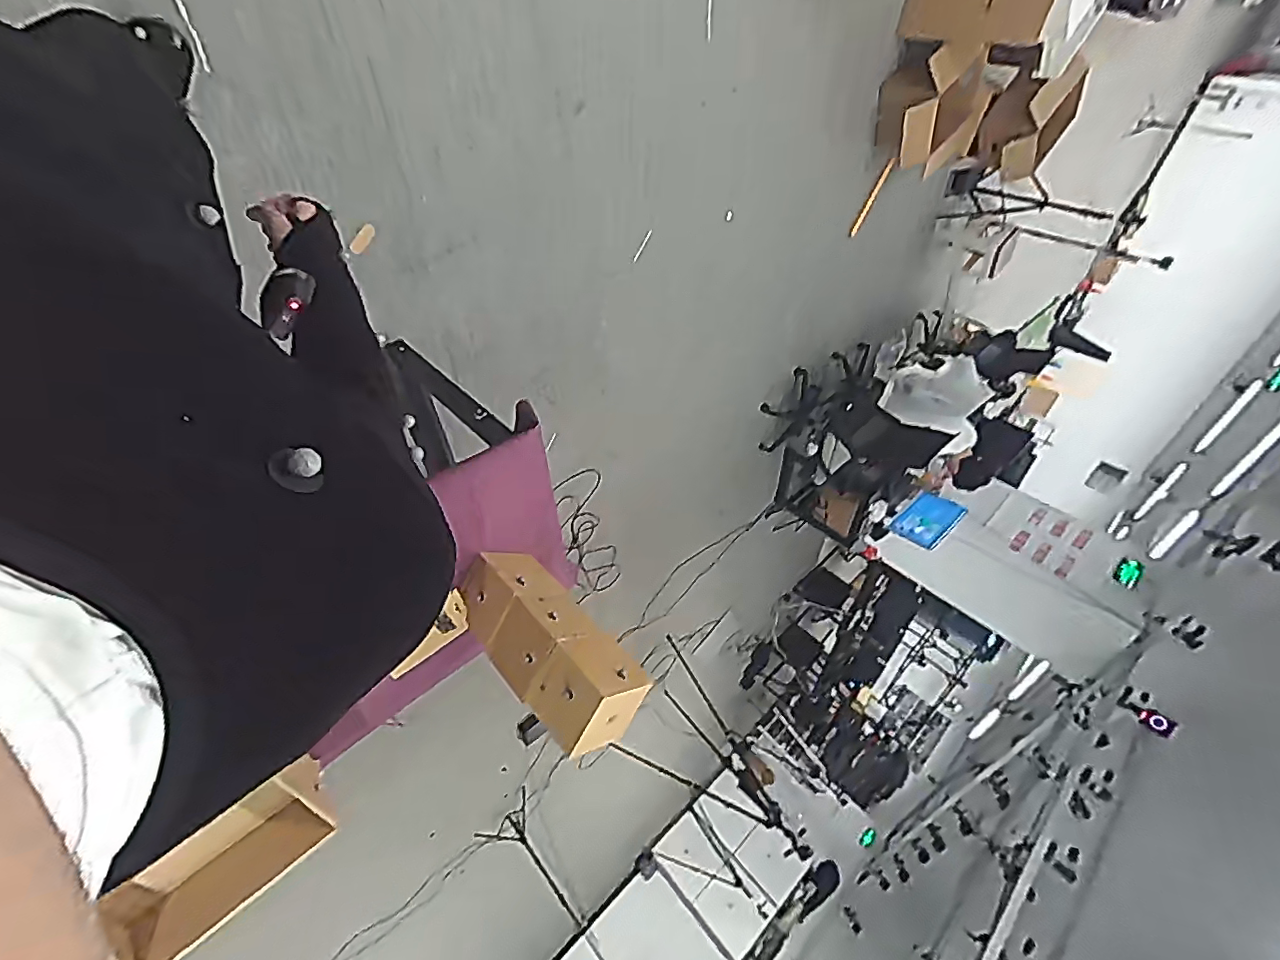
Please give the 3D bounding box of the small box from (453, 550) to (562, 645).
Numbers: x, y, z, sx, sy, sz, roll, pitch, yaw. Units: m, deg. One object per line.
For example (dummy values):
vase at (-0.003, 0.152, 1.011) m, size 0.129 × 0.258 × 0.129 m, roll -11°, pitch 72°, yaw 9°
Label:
small box at (-0.339, 0.290, 1.367) m, size 0.179 × 0.176 × 0.168 m, roll 13°, pitch 110°, yaw -55°

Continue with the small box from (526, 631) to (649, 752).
small box at (-0.120, 0.457, 1.196) m, size 0.179 × 0.176 × 0.168 m, roll 11°, pitch 111°, yaw -54°

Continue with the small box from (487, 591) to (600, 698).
small box at (-0.233, 0.377, 1.280) m, size 0.168 × 0.176 × 0.179 m, roll 14°, pitch 109°, yaw -54°

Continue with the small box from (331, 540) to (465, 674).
small box at (-0.501, 0.258, 1.129) m, size 0.179 × 0.176 × 0.168 m, roll -35°, pitch 144°, yaw -26°
